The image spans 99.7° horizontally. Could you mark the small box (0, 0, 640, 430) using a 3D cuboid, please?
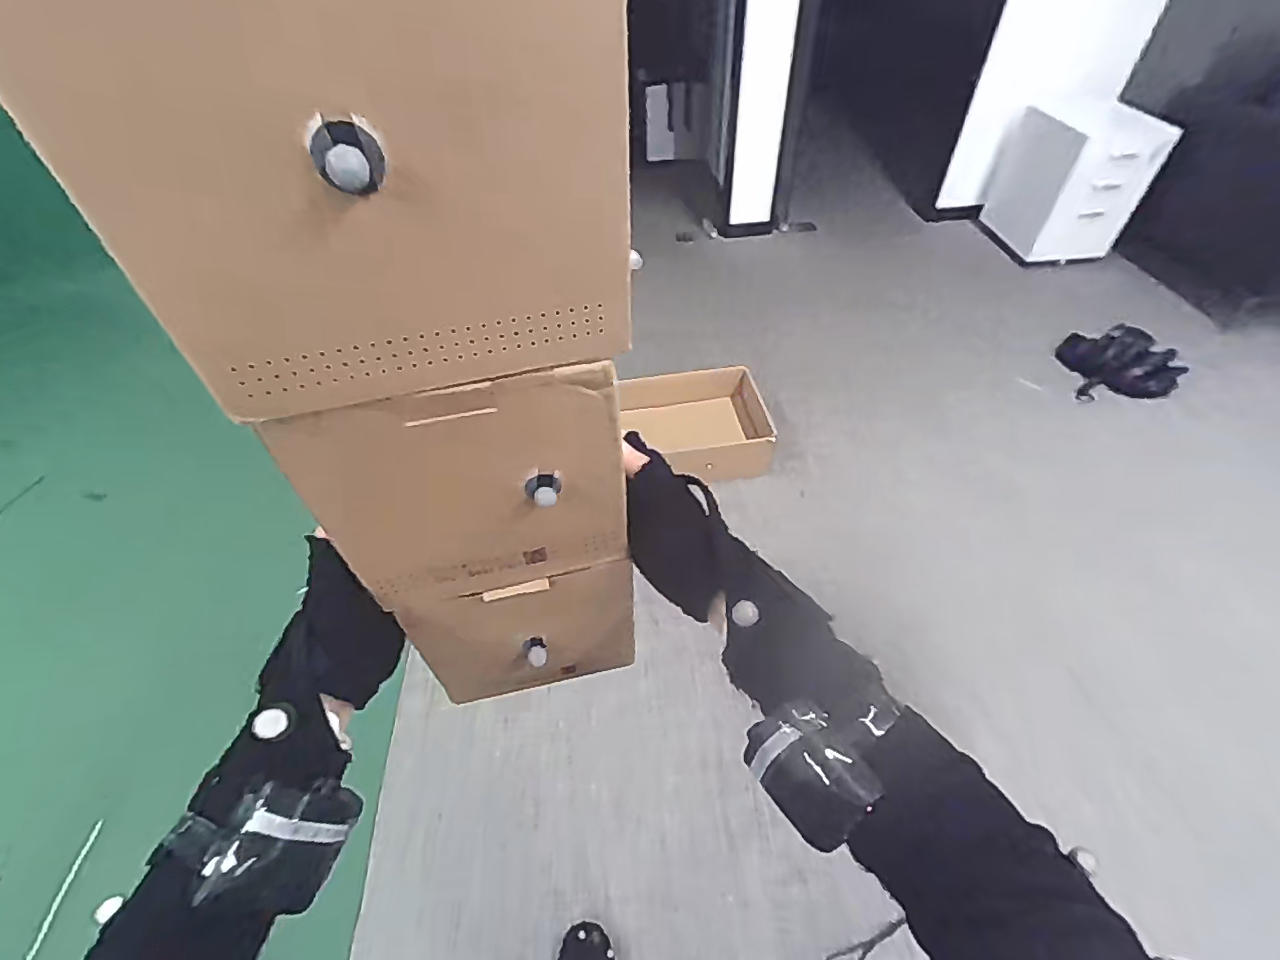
[{"bbox_3d":[-0.110,-0.148,0.245,0.179,0.176,0.168,-15,49,-15],"label":"small box"}]

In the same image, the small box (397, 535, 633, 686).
[{"bbox_3d":[-0.103,0.068,0.491,0.168,0.176,0.179,-10,49,-8],"label":"small box"}]

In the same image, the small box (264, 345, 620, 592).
[{"bbox_3d":[-0.111,-0.042,0.370,0.168,0.176,0.179,-11,47,-9],"label":"small box"}]
